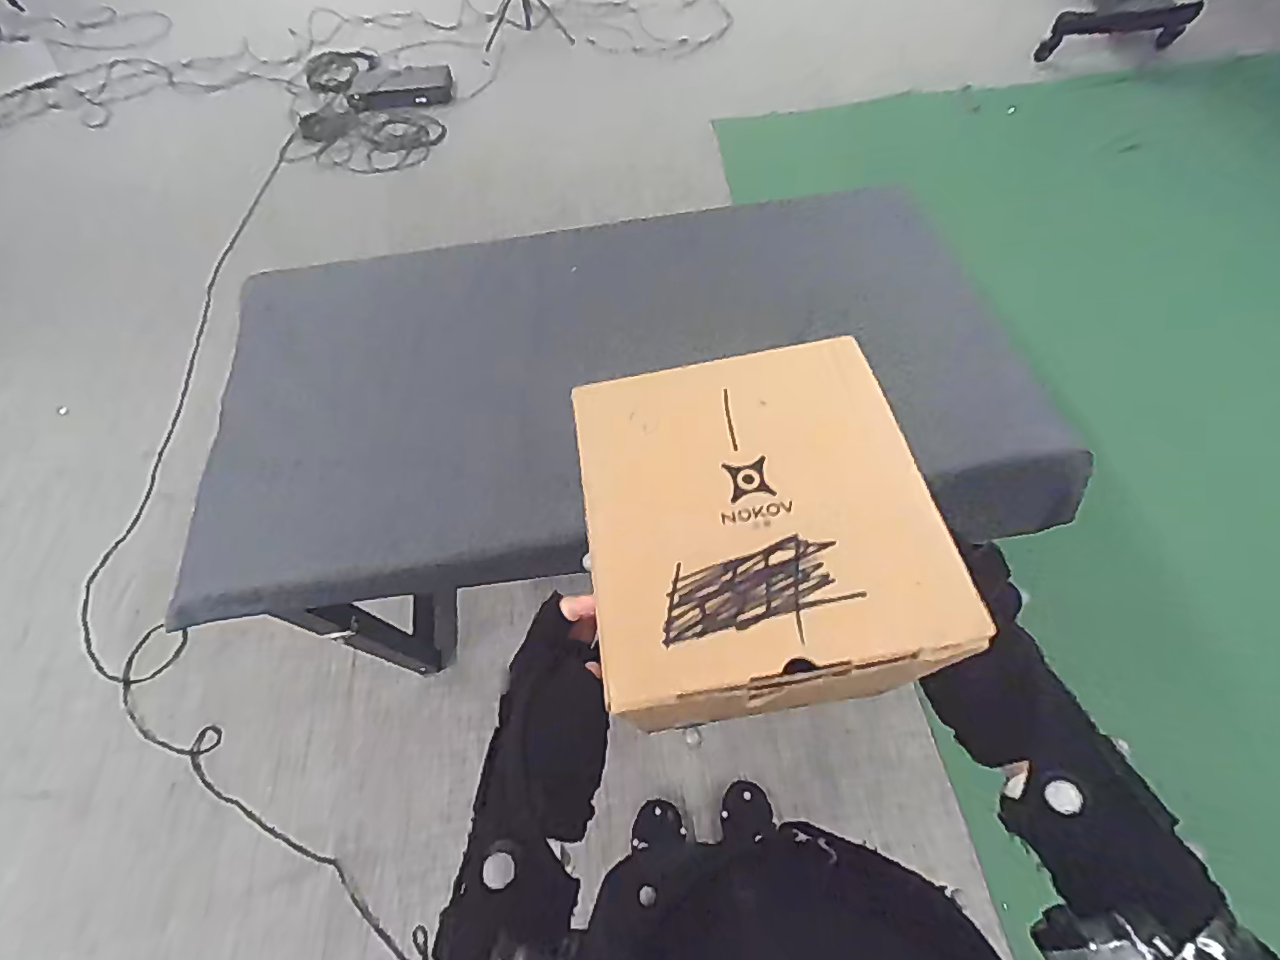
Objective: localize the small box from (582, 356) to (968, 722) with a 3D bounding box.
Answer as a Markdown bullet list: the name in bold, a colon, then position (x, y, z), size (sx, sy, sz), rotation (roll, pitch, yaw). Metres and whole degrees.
- **small box**: position (0.065, 0.052, 0.350), size (0.168, 0.176, 0.179), rotation (-9, 61, 1)
